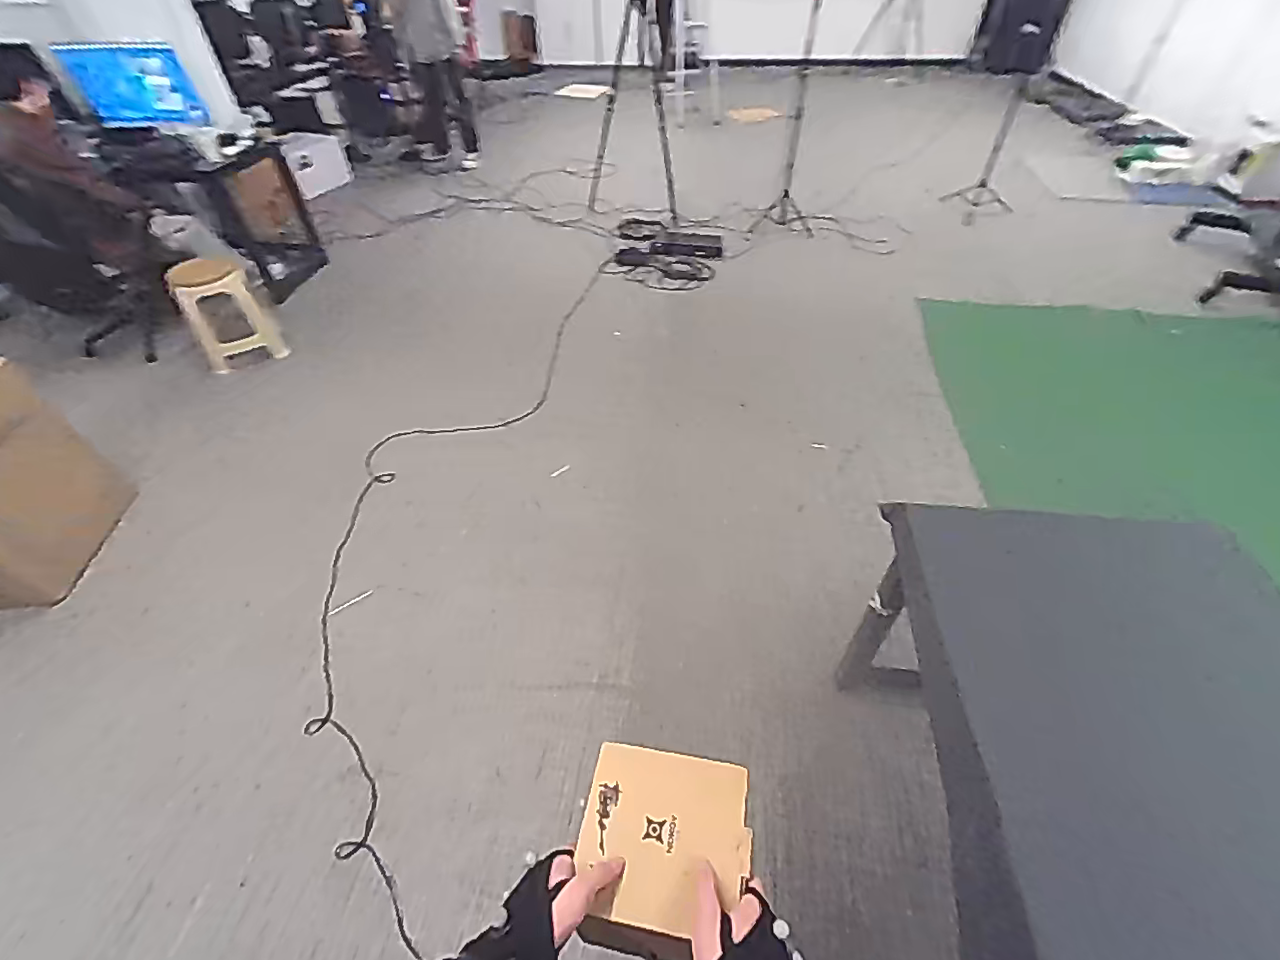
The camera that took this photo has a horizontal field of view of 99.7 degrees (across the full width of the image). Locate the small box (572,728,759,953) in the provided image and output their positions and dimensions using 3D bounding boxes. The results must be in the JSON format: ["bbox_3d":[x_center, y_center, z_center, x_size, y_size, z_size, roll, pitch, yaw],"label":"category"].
[{"bbox_3d":[0.036,0.418,0.626,0.179,0.176,0.168,6,43,9],"label":"small box"}]
